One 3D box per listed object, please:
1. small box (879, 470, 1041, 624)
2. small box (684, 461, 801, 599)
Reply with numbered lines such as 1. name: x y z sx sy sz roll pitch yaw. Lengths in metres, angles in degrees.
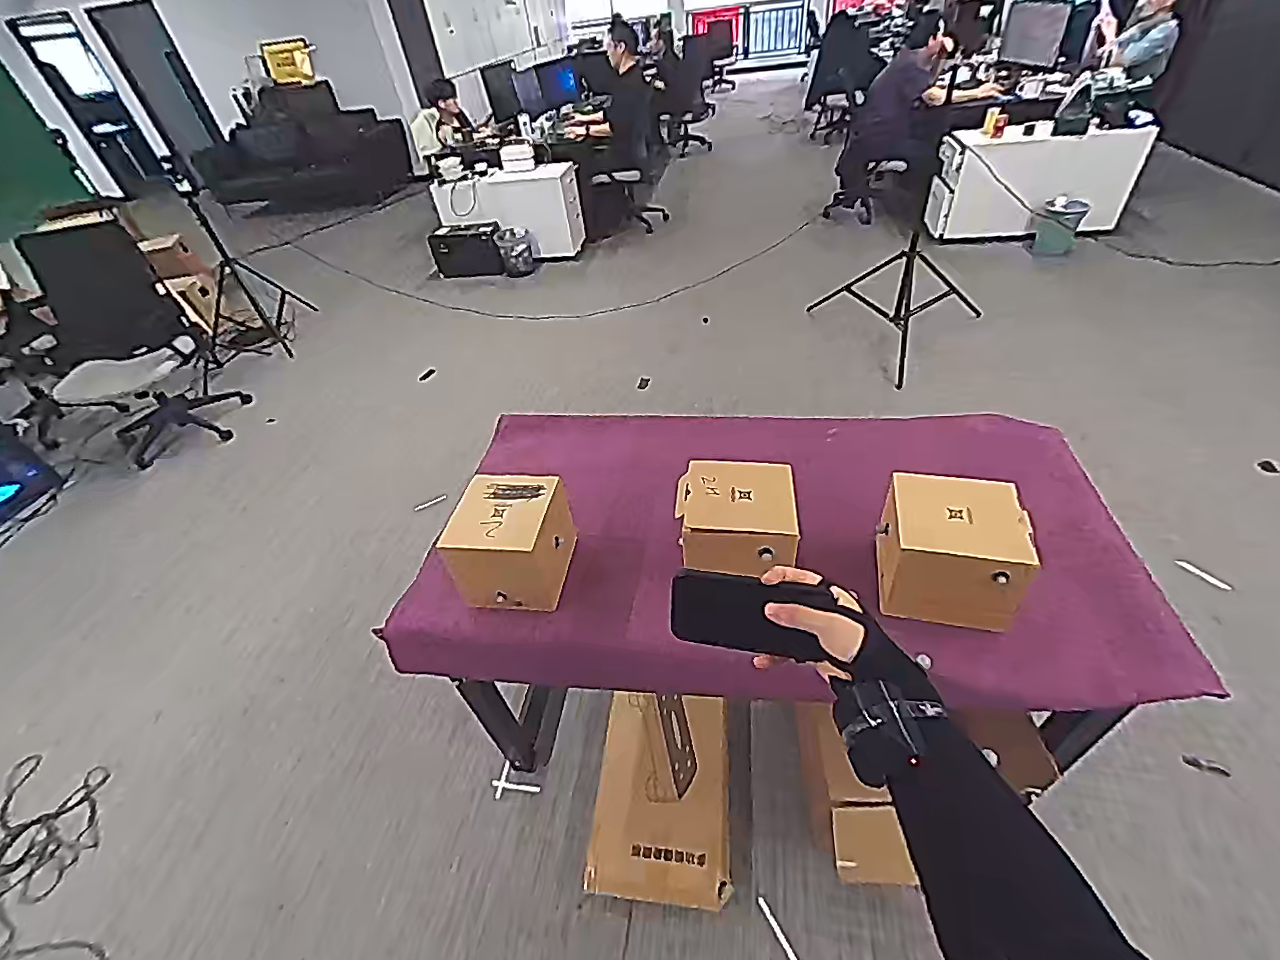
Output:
1. small box: 0.480 0.105 0.848 0.179 0.176 0.168 6 44 15
2. small box: 0.170 0.085 0.918 0.179 0.176 0.168 0 40 10
